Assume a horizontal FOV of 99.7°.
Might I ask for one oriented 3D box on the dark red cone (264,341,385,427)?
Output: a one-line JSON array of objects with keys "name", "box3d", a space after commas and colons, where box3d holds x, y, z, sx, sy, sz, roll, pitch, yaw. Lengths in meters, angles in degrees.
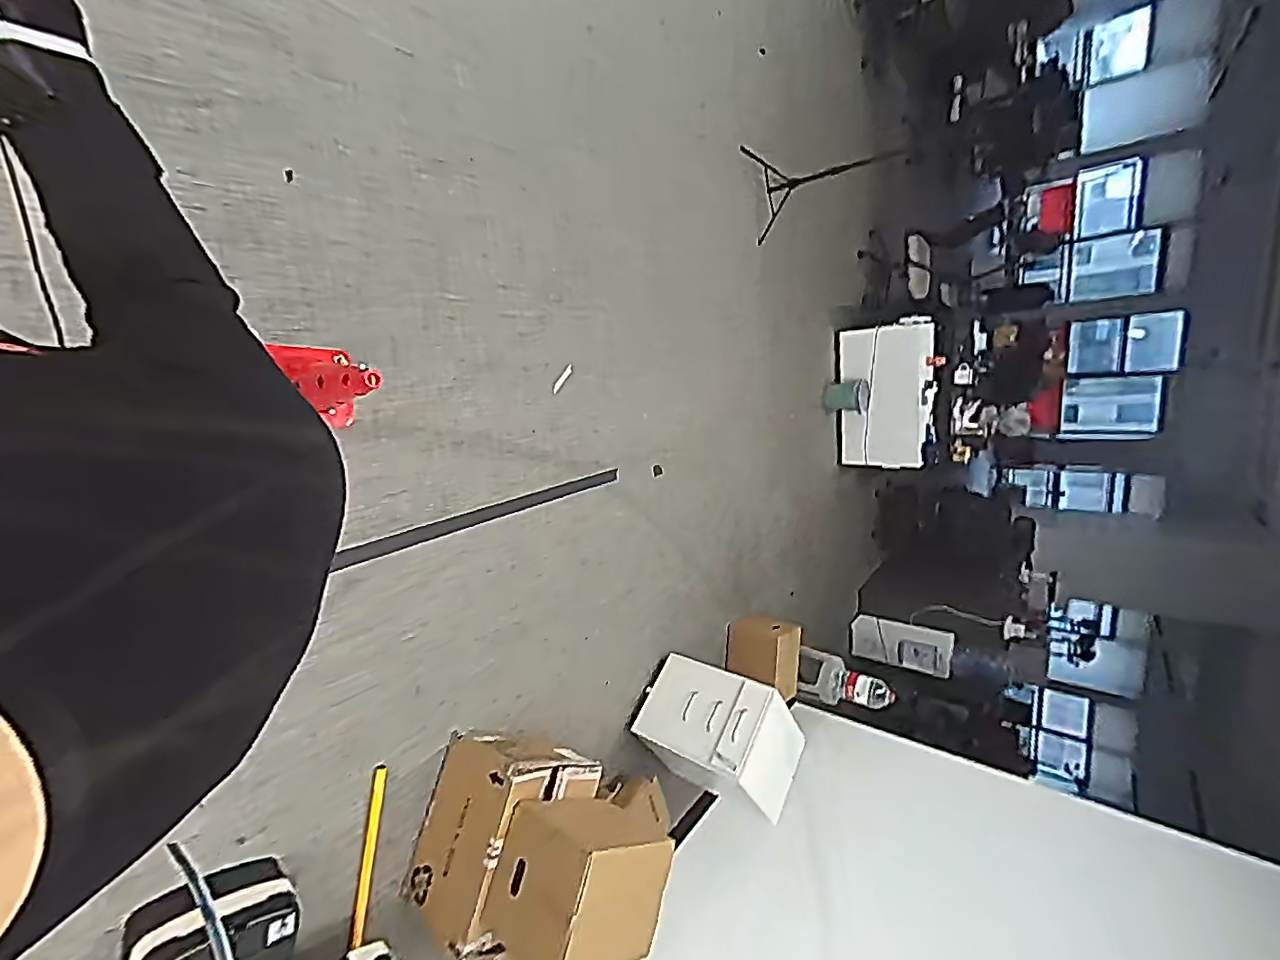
[{"name": "dark red cone", "box3d": [-0.686, -0.224, 1.233, 0.201, 0.394, 0.202, -10, 101, -49]}]
